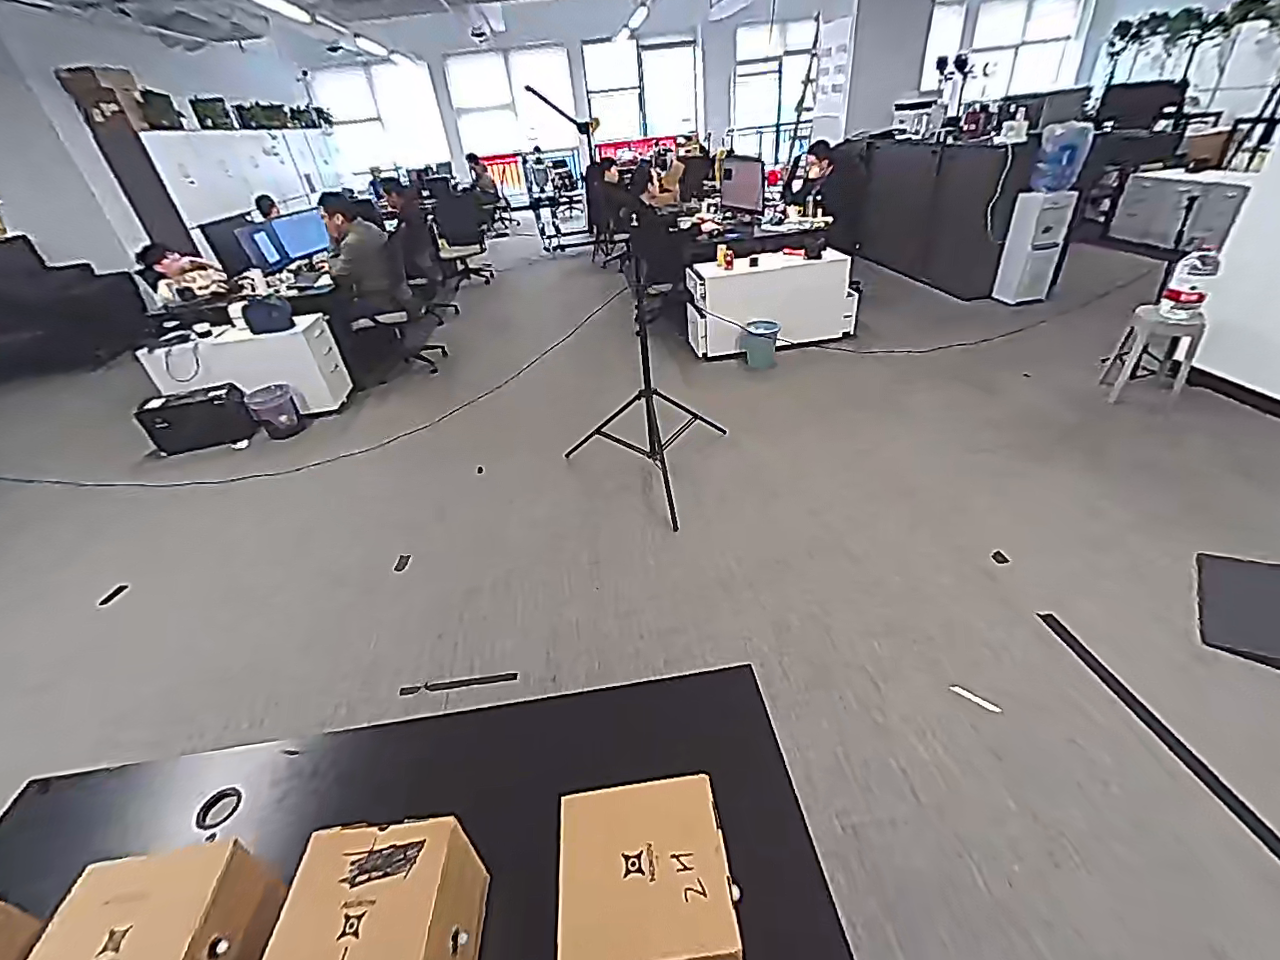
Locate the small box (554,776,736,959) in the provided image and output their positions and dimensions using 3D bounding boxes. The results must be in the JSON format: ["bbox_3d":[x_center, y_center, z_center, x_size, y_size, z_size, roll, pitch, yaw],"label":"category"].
[{"bbox_3d":[0.008,0.469,0.608,0.179,0.176,0.168,-7,34,-1],"label":"small box"}]

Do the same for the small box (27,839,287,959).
[{"bbox_3d":[-0.528,0.539,0.592,0.168,0.176,0.179,-8,33,-4],"label":"small box"}]

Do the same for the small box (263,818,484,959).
[{"bbox_3d":[-0.280,0.510,0.594,0.168,0.176,0.179,-6,34,0],"label":"small box"}]
